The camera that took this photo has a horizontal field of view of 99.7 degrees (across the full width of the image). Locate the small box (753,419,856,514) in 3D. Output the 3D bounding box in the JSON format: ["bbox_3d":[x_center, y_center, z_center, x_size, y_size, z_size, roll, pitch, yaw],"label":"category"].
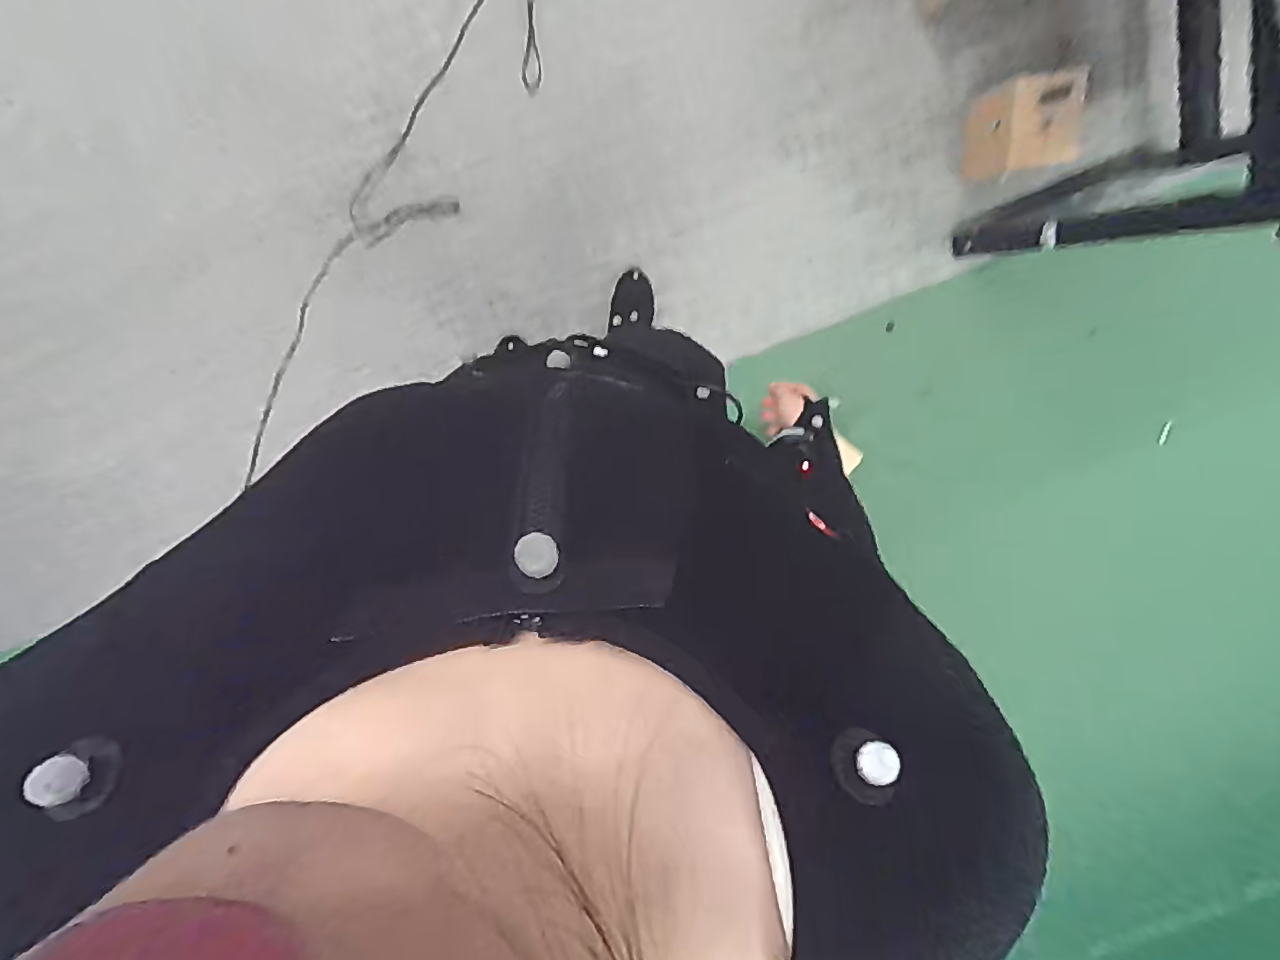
[{"bbox_3d":[0.438,-0.044,1.464,0.179,0.176,0.168,35,102,-16],"label":"small box"}]

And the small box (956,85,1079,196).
[{"bbox_3d":[0.868,-0.782,1.260,0.168,0.176,0.179,-9,110,-2],"label":"small box"}]
